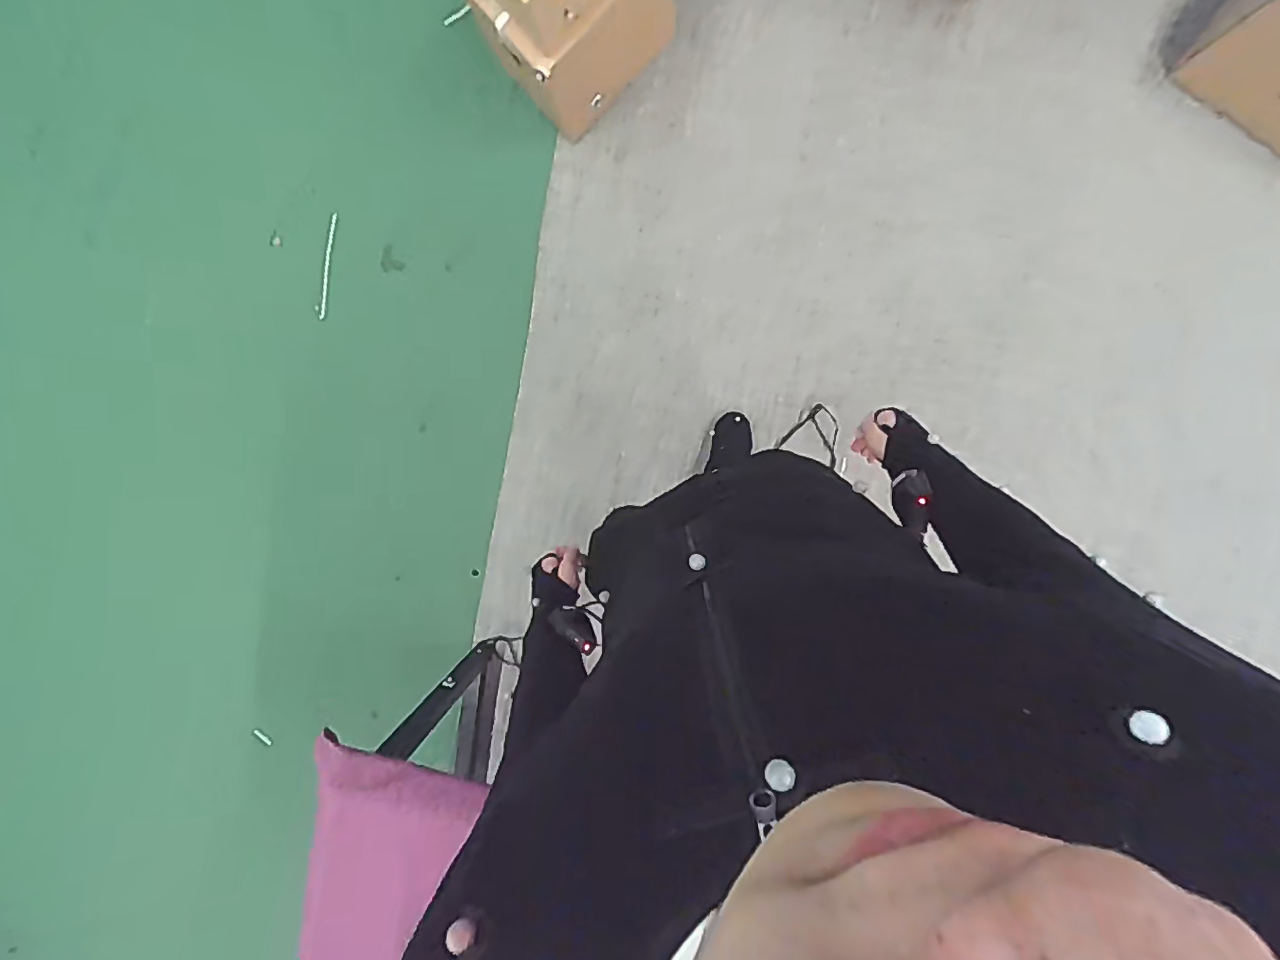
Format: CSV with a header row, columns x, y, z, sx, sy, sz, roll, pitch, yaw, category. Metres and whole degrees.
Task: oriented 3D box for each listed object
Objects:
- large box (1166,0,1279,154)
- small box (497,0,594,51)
x,y,z,sx,sy,sz,roll,pitch,yaw,category
1.558,-1.009,1.196,0.408,0.320,0.320,36,98,2,large box
-0.218,-1.062,1.124,0.168,0.176,0.179,-43,92,9,small box
